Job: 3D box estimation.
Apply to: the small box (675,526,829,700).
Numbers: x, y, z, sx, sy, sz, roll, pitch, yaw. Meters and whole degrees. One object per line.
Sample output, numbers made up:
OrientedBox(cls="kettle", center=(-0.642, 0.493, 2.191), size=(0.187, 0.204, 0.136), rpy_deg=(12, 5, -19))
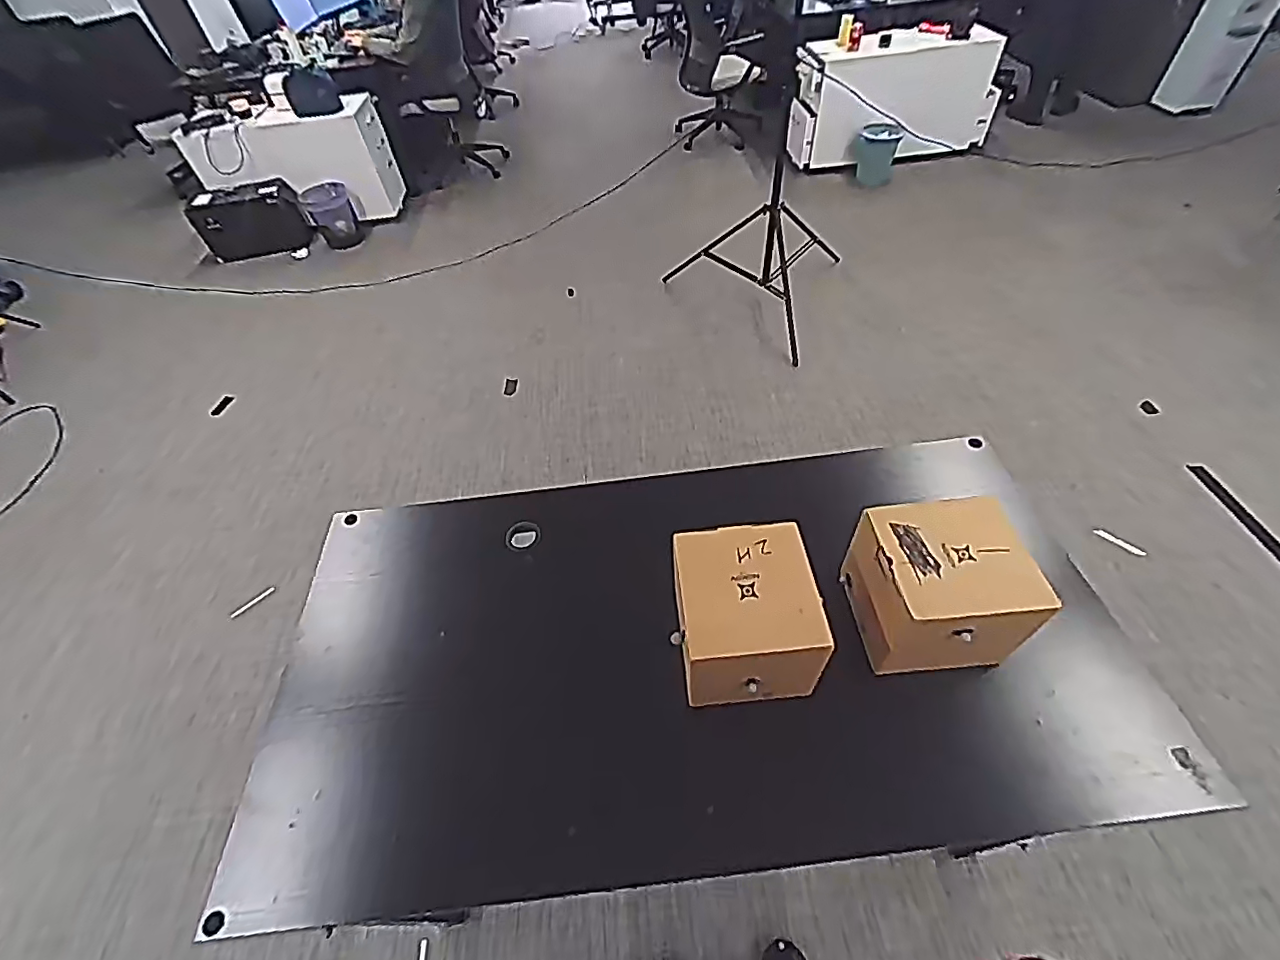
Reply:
OrientedBox(cls="small box", center=(0.140, 0.187, 0.735), size=(0.168, 0.176, 0.179), rpy_deg=(-5, 50, 1))

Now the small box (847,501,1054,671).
OrientedBox(cls="small box", center=(0.398, 0.149, 0.740), size=(0.179, 0.176, 0.168), rpy_deg=(-5, 50, 1))
